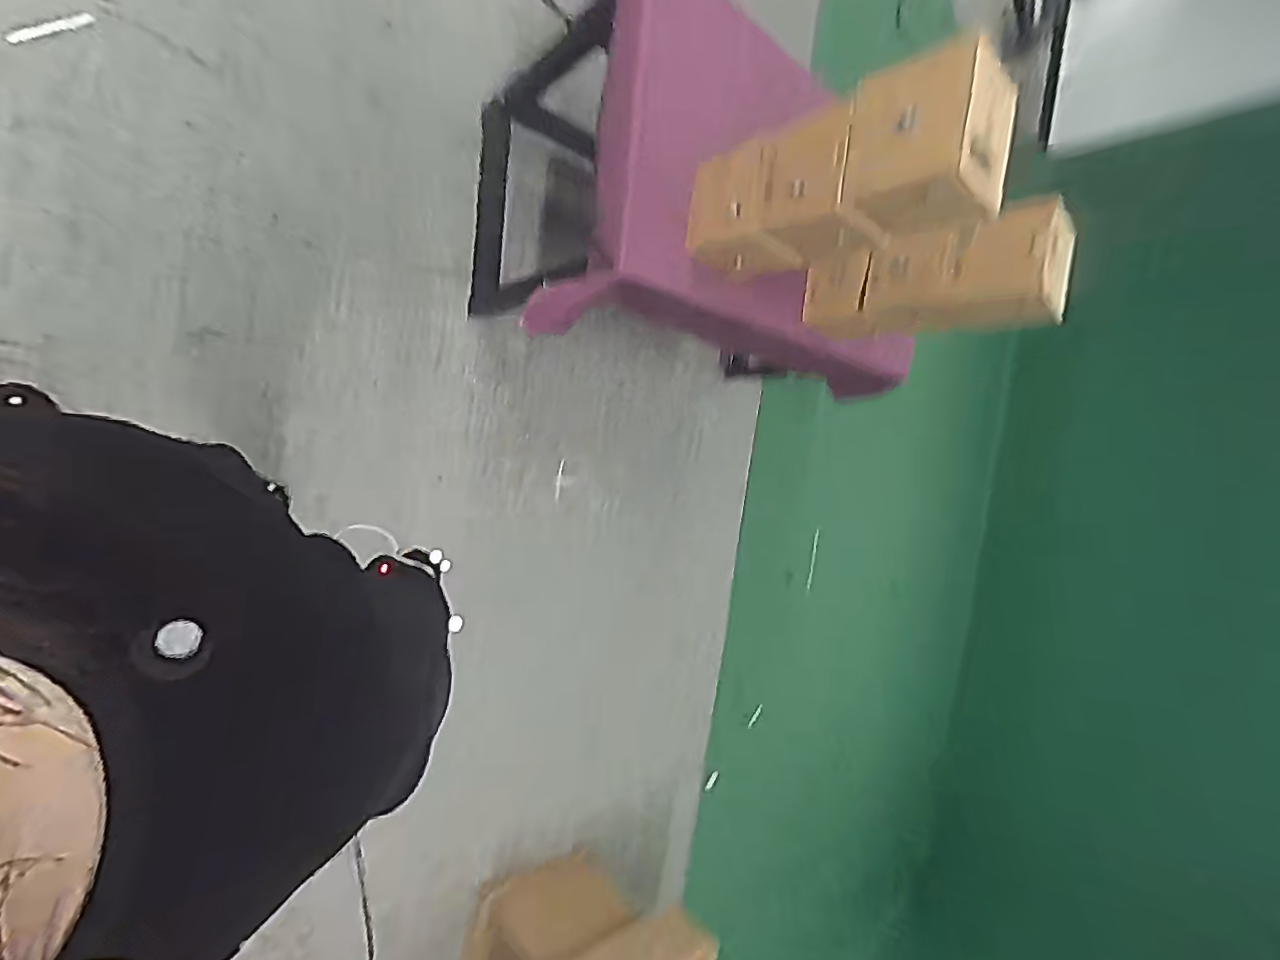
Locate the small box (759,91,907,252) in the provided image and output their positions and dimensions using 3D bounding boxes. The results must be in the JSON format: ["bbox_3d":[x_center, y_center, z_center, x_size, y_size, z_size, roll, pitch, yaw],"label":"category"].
[{"bbox_3d":[0.326,-0.507,0.925,0.179,0.176,0.168,4,95,-41],"label":"small box"}]

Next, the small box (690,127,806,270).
[{"bbox_3d":[0.216,-0.526,1.044,0.168,0.176,0.179,6,93,-42],"label":"small box"}]

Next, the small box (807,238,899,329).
[{"bbox_3d":[0.533,-0.475,1.327,0.179,0.176,0.168,4,94,-41],"label":"small box"}]

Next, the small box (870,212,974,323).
[{"bbox_3d":[0.634,-0.457,1.198,0.179,0.176,0.168,9,91,-41],"label":"small box"}]

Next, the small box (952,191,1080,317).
[{"bbox_3d":[0.748,-0.436,1.080,0.179,0.176,0.168,9,90,-43],"label":"small box"}]
